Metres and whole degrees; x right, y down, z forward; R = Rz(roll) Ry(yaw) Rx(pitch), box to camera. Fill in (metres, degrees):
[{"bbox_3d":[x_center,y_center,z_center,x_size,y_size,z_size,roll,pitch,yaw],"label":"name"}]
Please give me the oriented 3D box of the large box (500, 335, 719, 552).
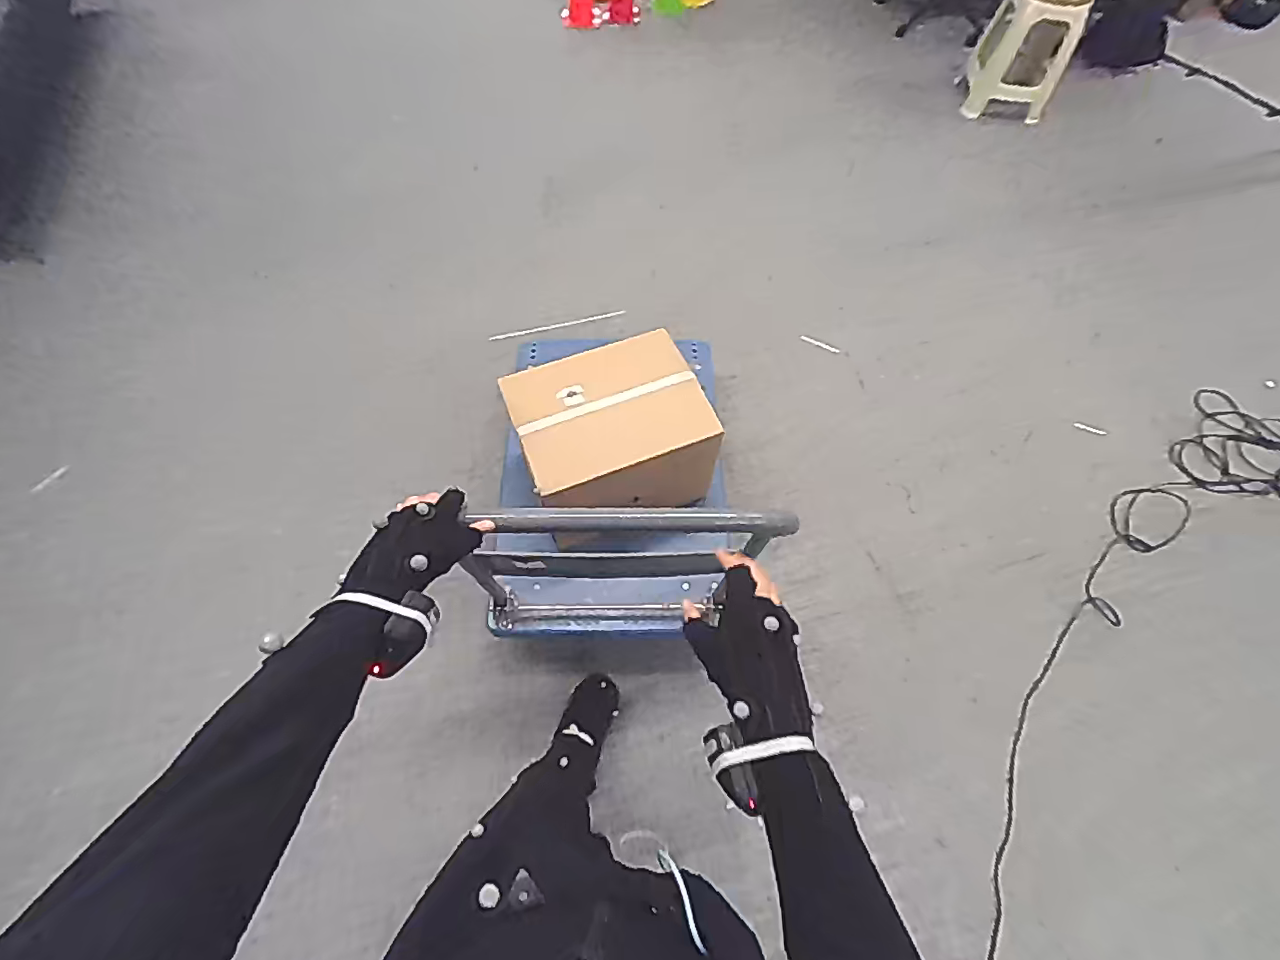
[{"bbox_3d":[-0.069,-0.079,1.303,0.408,0.320,0.320,-22,64,-11],"label":"large box"}]
